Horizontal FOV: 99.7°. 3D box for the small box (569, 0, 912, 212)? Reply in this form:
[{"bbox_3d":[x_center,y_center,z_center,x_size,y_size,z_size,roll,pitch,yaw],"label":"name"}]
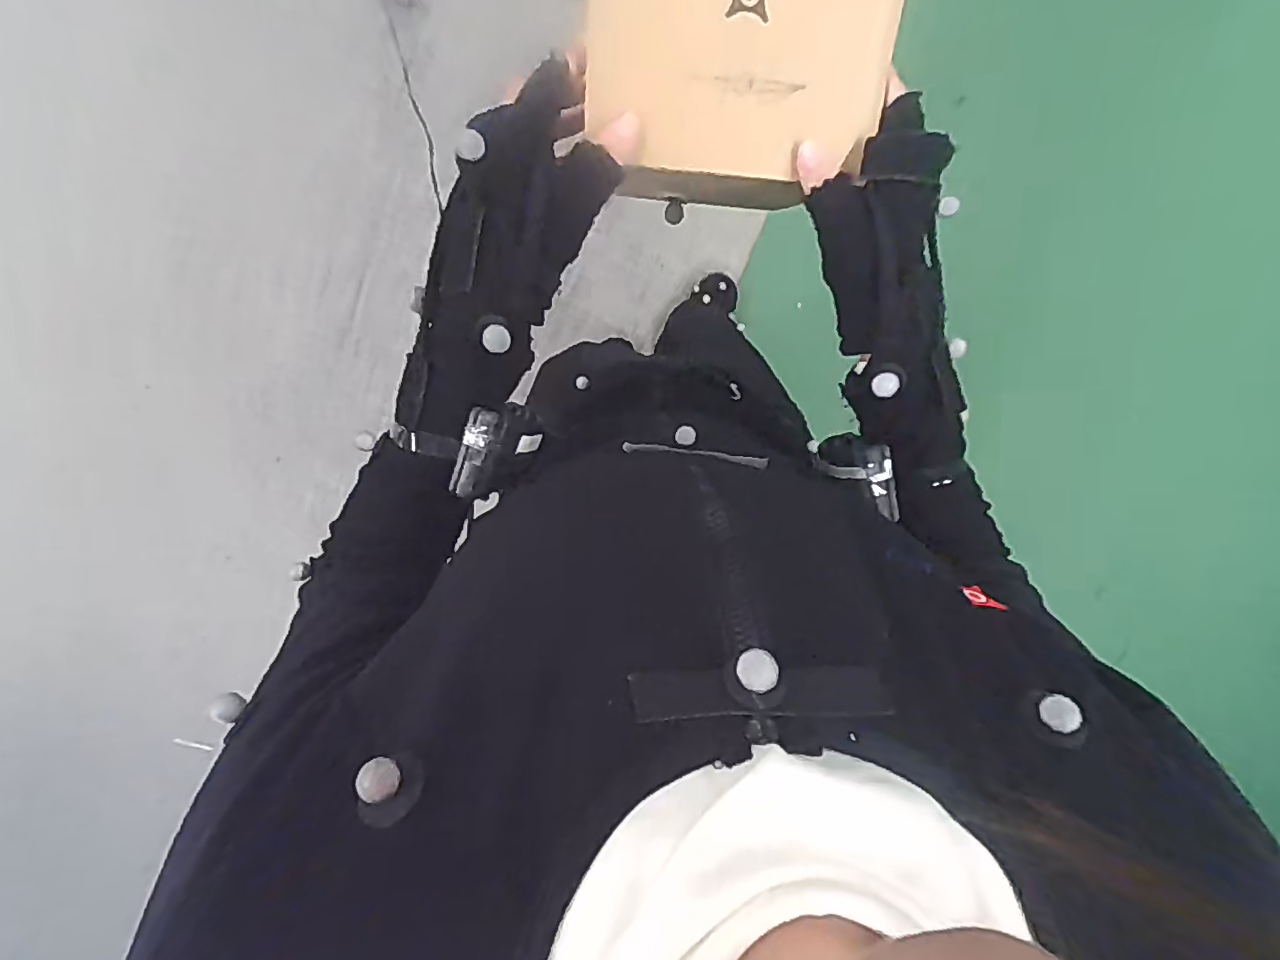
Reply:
[{"bbox_3d":[0.048,-0.277,0.330,0.168,0.176,0.179,4,111,-5],"label":"small box"}]
